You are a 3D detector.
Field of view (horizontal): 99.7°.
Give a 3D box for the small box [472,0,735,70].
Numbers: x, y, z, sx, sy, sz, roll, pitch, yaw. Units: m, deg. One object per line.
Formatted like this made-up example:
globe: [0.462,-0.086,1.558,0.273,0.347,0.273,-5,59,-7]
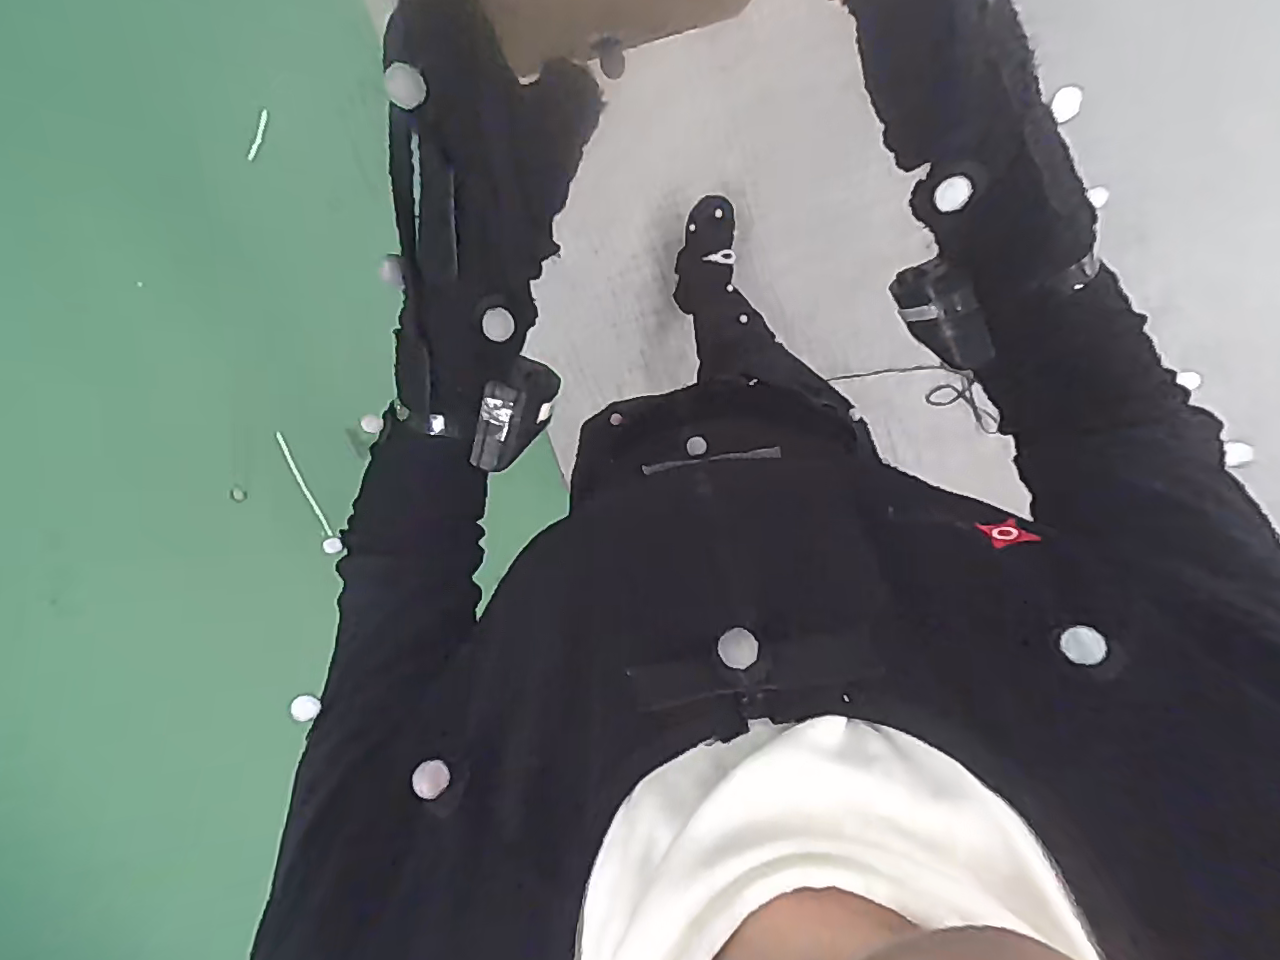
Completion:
small box: [-0.024,-0.330,0.245,0.168,0.176,0.179,-16,115,0]
